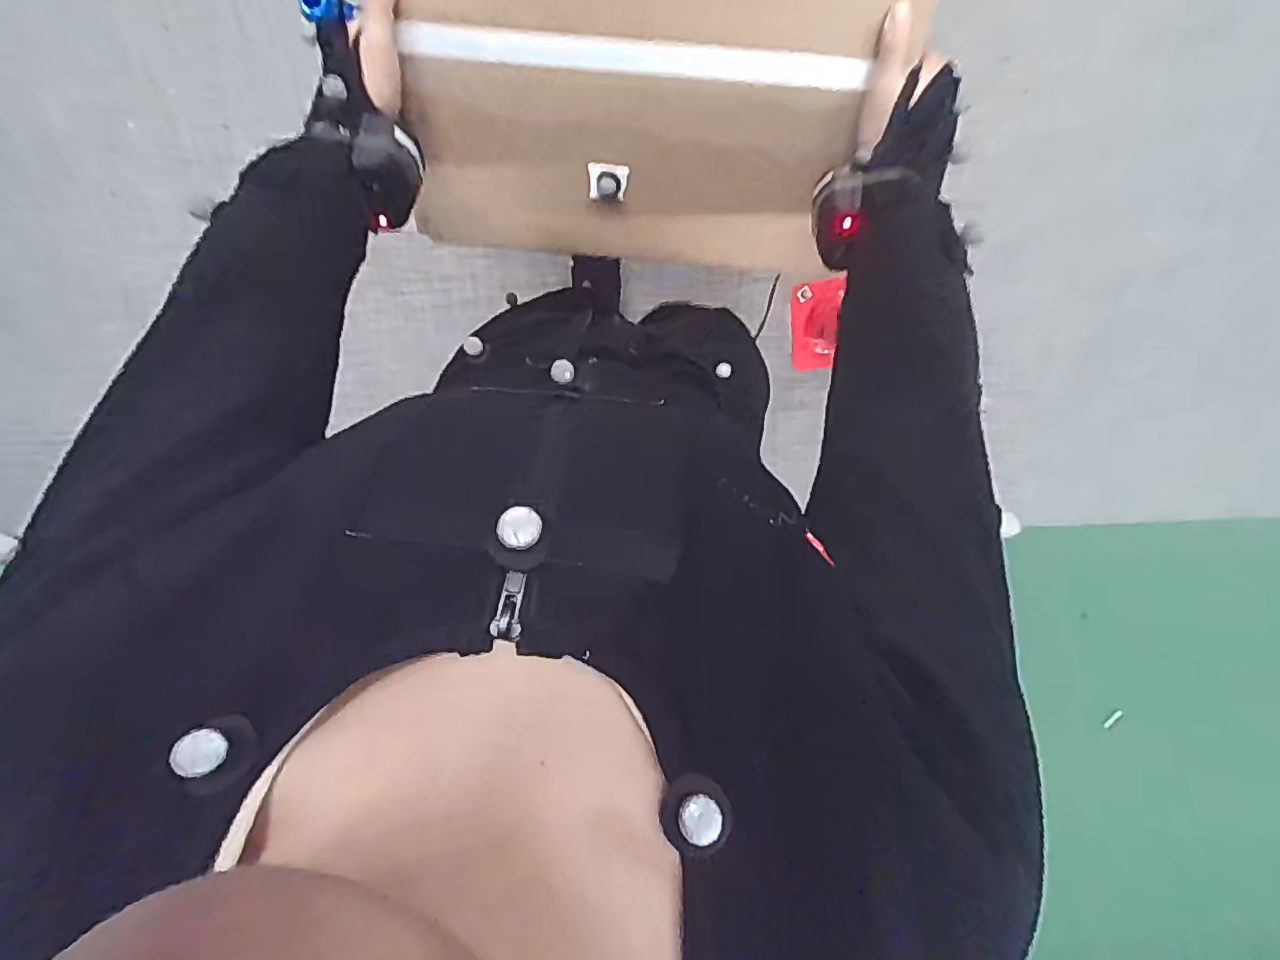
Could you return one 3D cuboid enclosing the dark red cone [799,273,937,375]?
[{"bbox_3d":[0.452,-0.276,1.045,0.202,0.394,0.201,-8,113,4],"label":"dark red cone"}]

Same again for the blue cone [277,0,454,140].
[{"bbox_3d":[-0.473,-0.733,0.920,0.192,0.380,0.193,-1,110,1],"label":"blue cone"}]
